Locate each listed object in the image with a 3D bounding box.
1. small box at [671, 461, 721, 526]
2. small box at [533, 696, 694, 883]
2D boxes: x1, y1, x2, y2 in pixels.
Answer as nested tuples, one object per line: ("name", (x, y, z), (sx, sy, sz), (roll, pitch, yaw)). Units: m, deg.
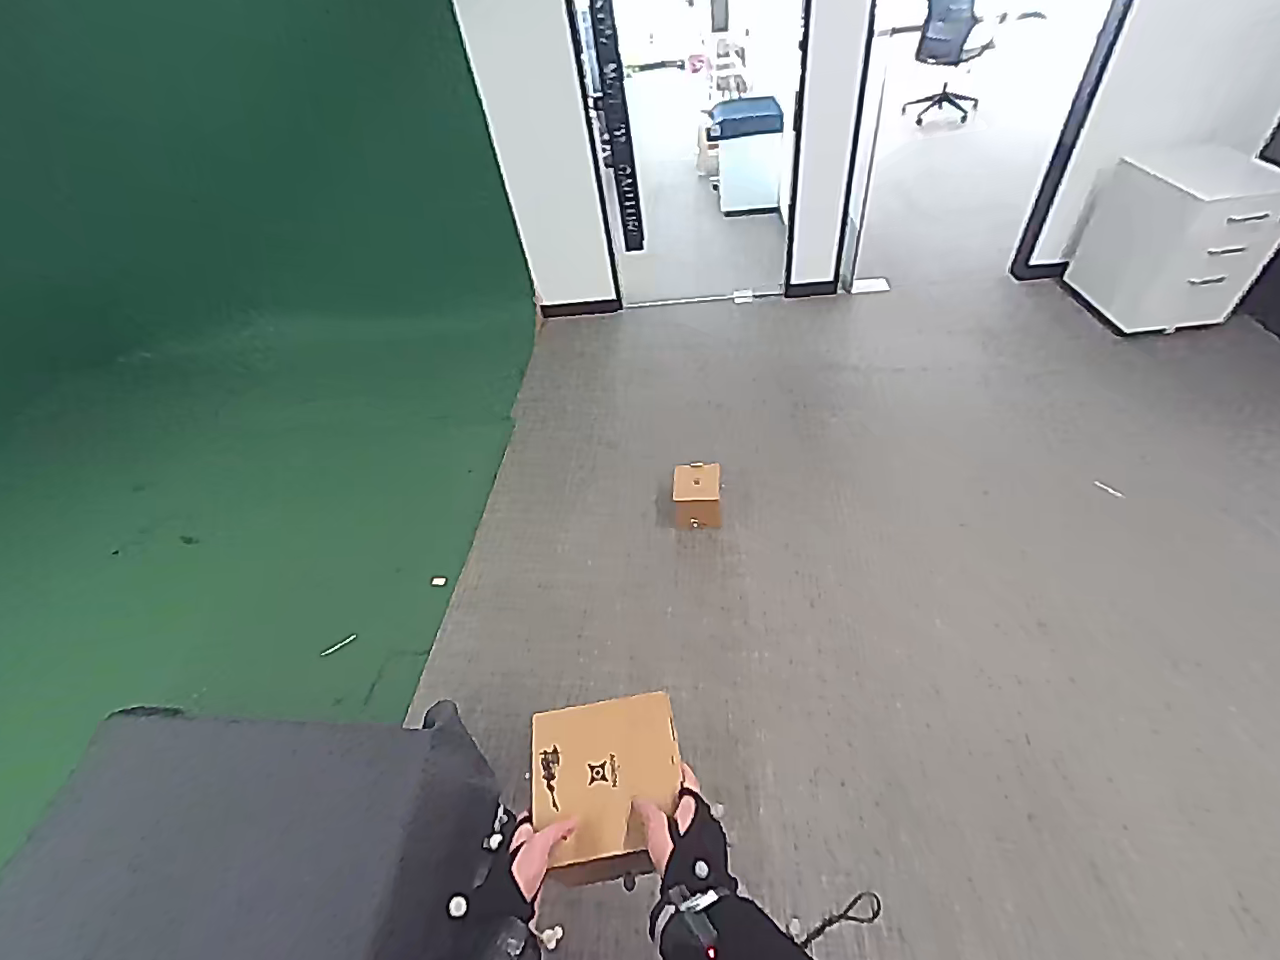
("small box", (0.208, 0.049, 1.976), (0.168, 0.176, 0.179), (-1, 47, 12))
("small box", (-0.030, 0.397, 0.691), (0.179, 0.176, 0.168), (-9, 47, 0))
